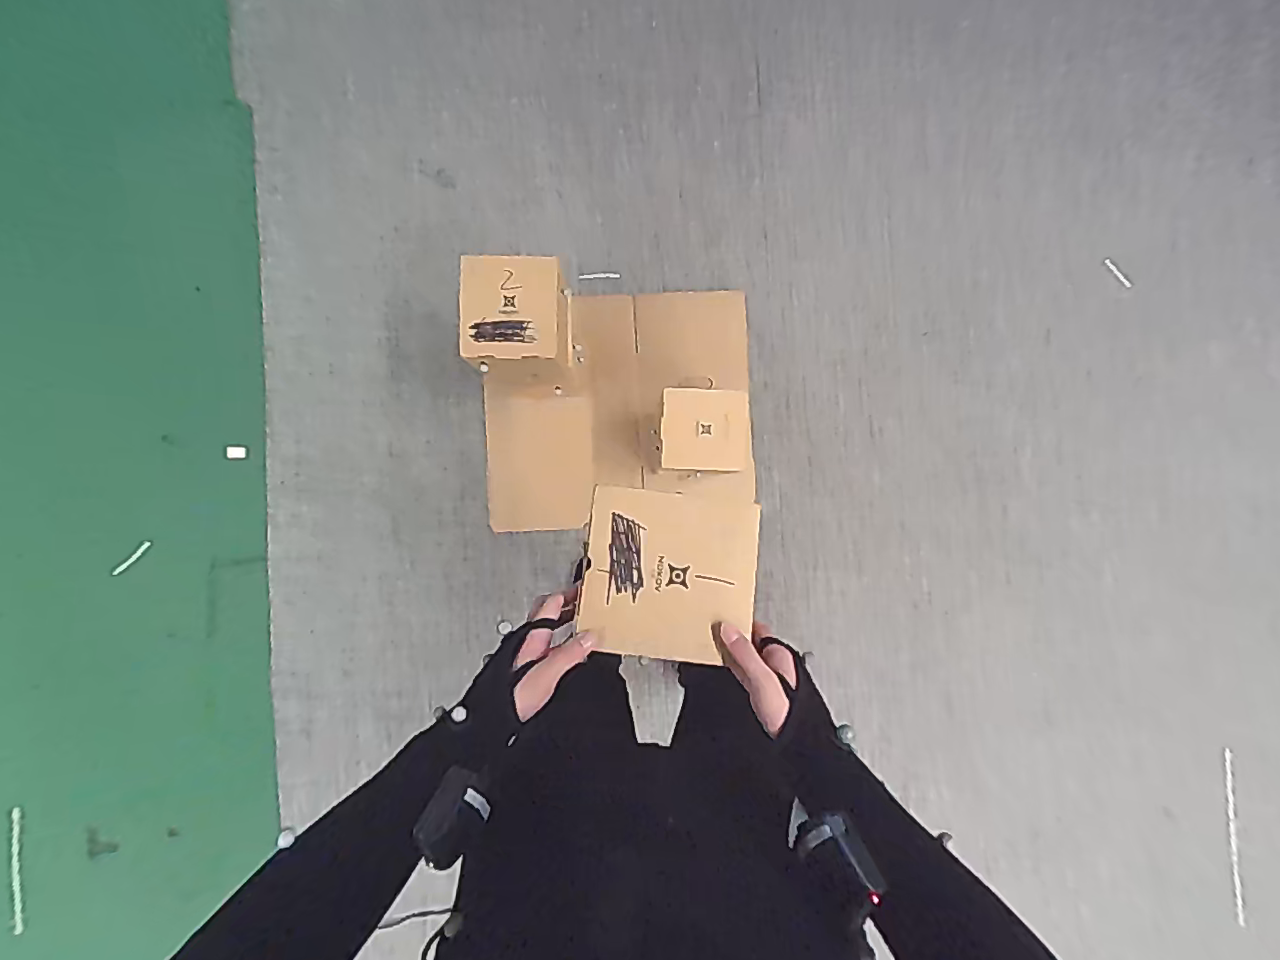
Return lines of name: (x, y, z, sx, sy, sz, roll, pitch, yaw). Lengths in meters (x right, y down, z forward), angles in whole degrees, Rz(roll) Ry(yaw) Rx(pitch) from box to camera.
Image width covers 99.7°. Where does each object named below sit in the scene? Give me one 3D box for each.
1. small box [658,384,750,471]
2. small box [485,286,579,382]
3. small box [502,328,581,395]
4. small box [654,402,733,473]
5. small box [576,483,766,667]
small box: (0.130, -0.106, 1.166, 0.179, 0.176, 0.168, 2, 90, -2)
small box: (-0.223, -0.306, 1.157, 0.179, 0.176, 0.168, -1, 90, -1)
small box: (-0.234, -0.305, 1.318, 0.179, 0.176, 0.168, -2, 89, -2)
small box: (0.127, -0.102, 1.330, 0.179, 0.176, 0.168, 0, 89, -2)
small box: (0.030, 0.108, 0.619, 0.179, 0.176, 0.168, 8, 79, -2)
